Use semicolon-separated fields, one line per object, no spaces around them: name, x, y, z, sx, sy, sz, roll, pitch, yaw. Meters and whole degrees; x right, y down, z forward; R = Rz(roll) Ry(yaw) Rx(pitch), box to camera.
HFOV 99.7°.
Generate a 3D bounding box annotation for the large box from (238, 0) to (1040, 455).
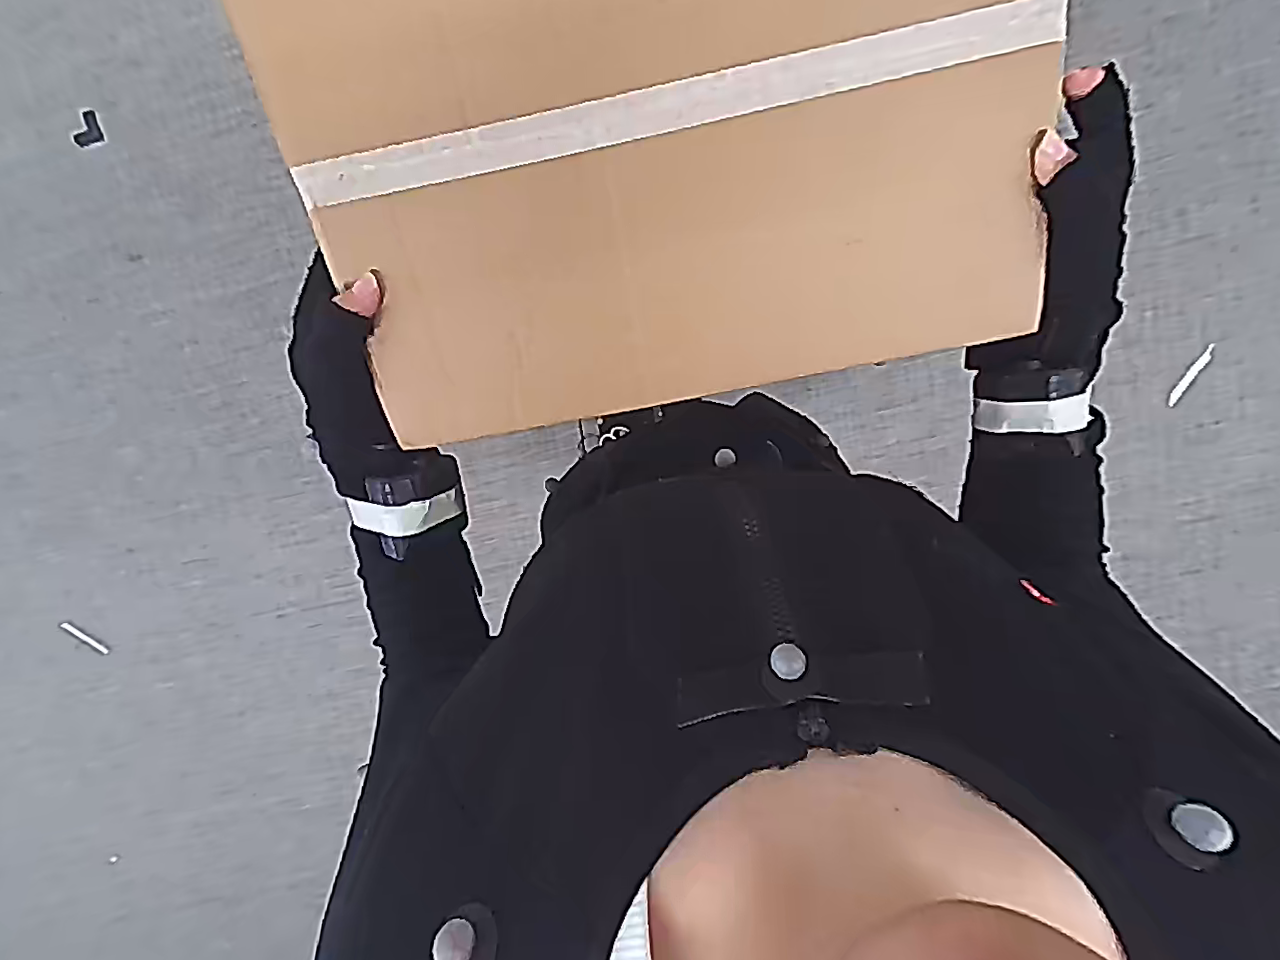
large box;0.010;-0.250;0.431;0.408;0.320;0.320;-10;112;3
